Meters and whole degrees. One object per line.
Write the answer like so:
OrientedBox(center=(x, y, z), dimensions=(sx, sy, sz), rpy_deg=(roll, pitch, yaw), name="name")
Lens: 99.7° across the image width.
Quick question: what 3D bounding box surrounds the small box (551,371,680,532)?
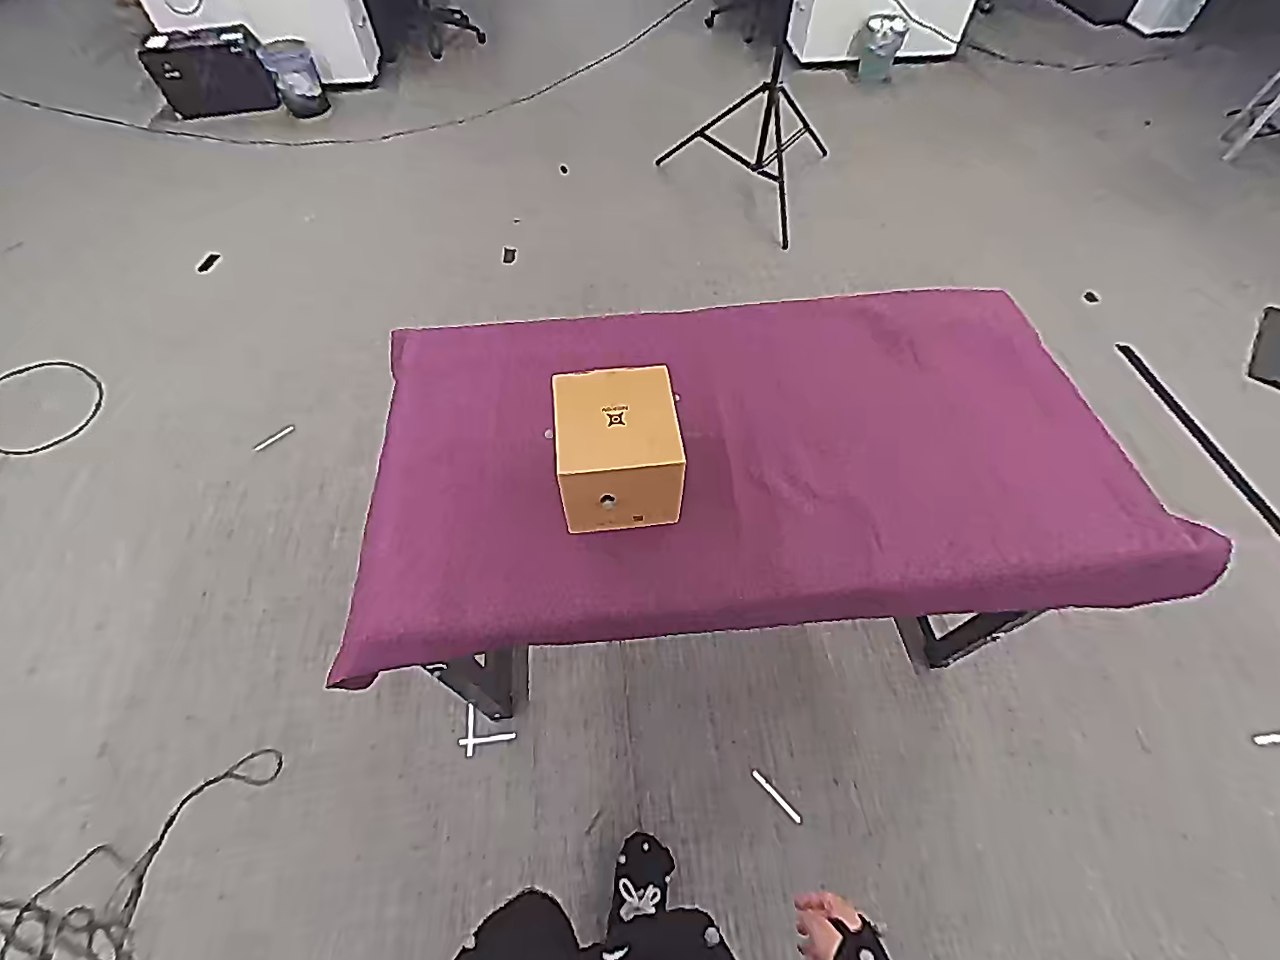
OrientedBox(center=(-0.035, -0.034, 0.797), dimensions=(0.168, 0.176, 0.179), rpy_deg=(-6, 57, -4), name="small box")
